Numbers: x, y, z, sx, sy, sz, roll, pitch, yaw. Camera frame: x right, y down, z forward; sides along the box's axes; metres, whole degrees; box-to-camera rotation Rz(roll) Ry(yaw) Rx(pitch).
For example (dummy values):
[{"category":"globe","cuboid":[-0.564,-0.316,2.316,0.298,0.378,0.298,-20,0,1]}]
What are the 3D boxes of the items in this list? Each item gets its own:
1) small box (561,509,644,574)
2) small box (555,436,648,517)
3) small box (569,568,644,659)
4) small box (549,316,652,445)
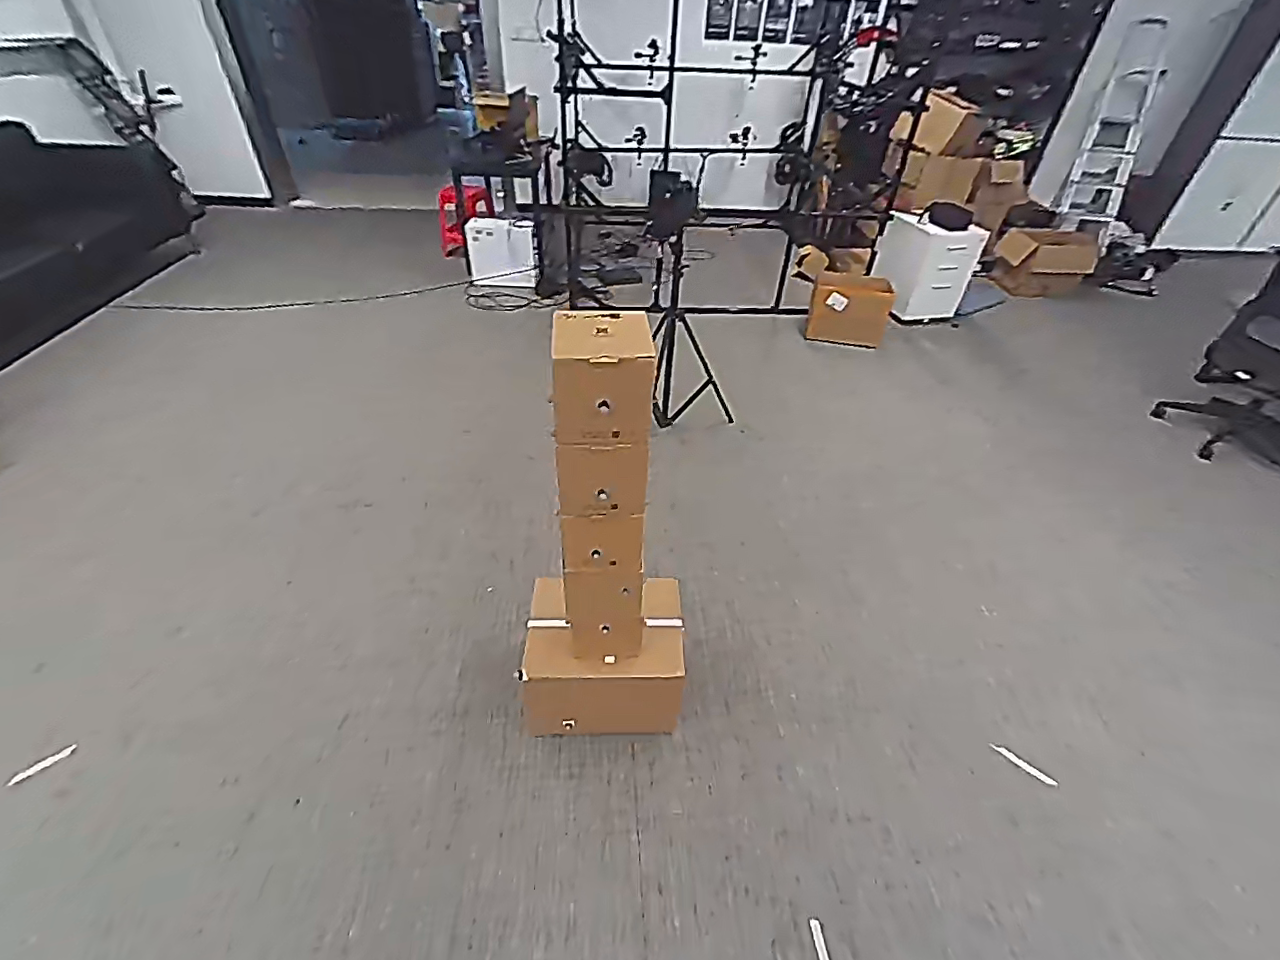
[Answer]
[{"category":"small box","cuboid":[-0.082,0.081,1.161,0.168,0.176,0.179,-1,42,-5]},{"category":"small box","cuboid":[-0.076,-0.046,1.057,0.168,0.176,0.179,-2,42,-5]},{"category":"small box","cuboid":[-0.085,0.336,1.366,0.179,0.176,0.168,0,41,-5]},{"category":"small box","cuboid":[-0.069,-0.173,0.954,0.168,0.176,0.179,-2,42,-6]}]
